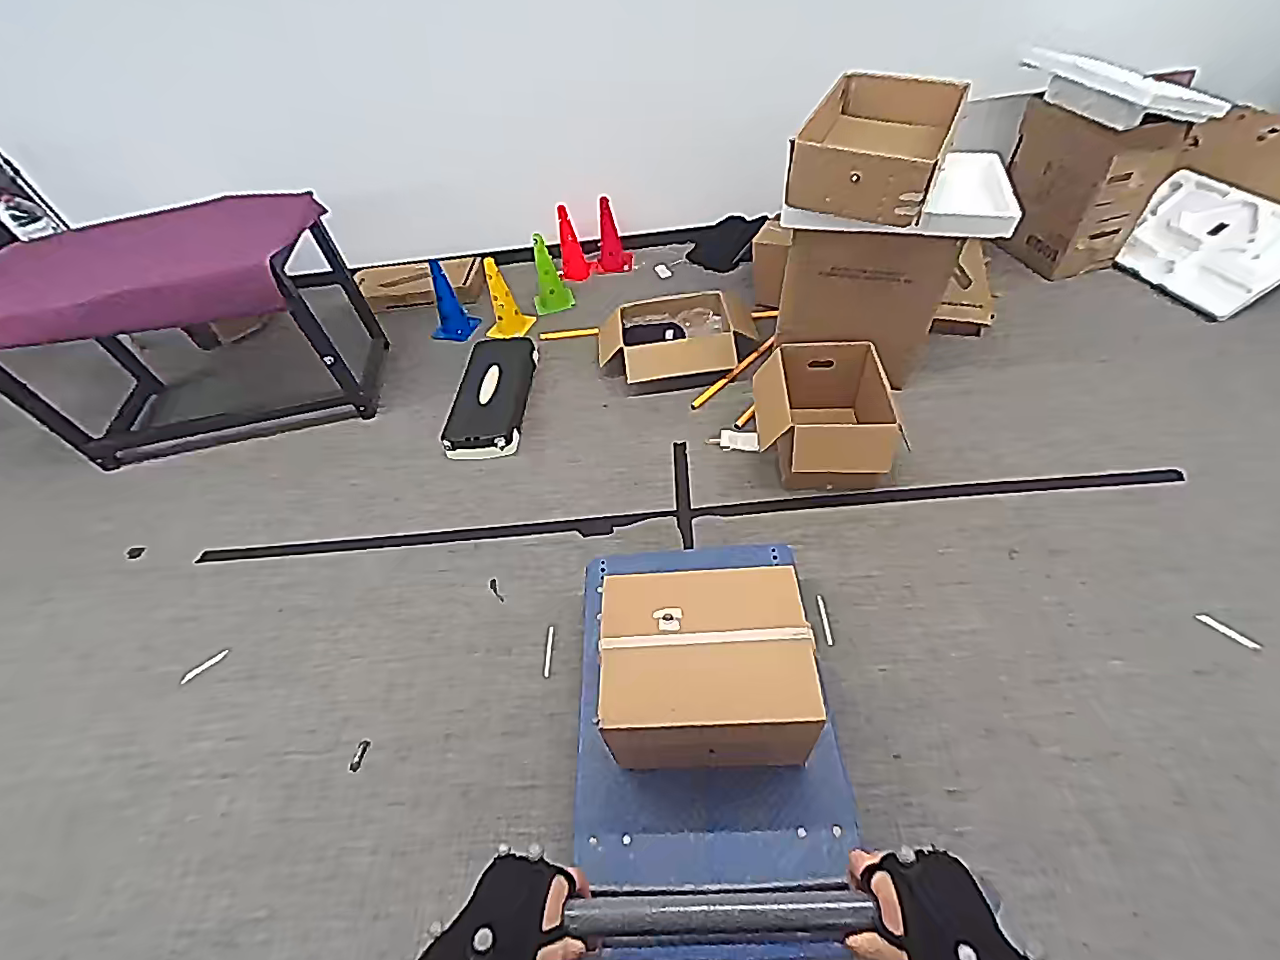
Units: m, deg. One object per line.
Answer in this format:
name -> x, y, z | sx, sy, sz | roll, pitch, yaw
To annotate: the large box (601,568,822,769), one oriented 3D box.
large box -> 0.141, 0.417, 1.173 | 0.408, 0.320, 0.320 | -5, 48, 5
